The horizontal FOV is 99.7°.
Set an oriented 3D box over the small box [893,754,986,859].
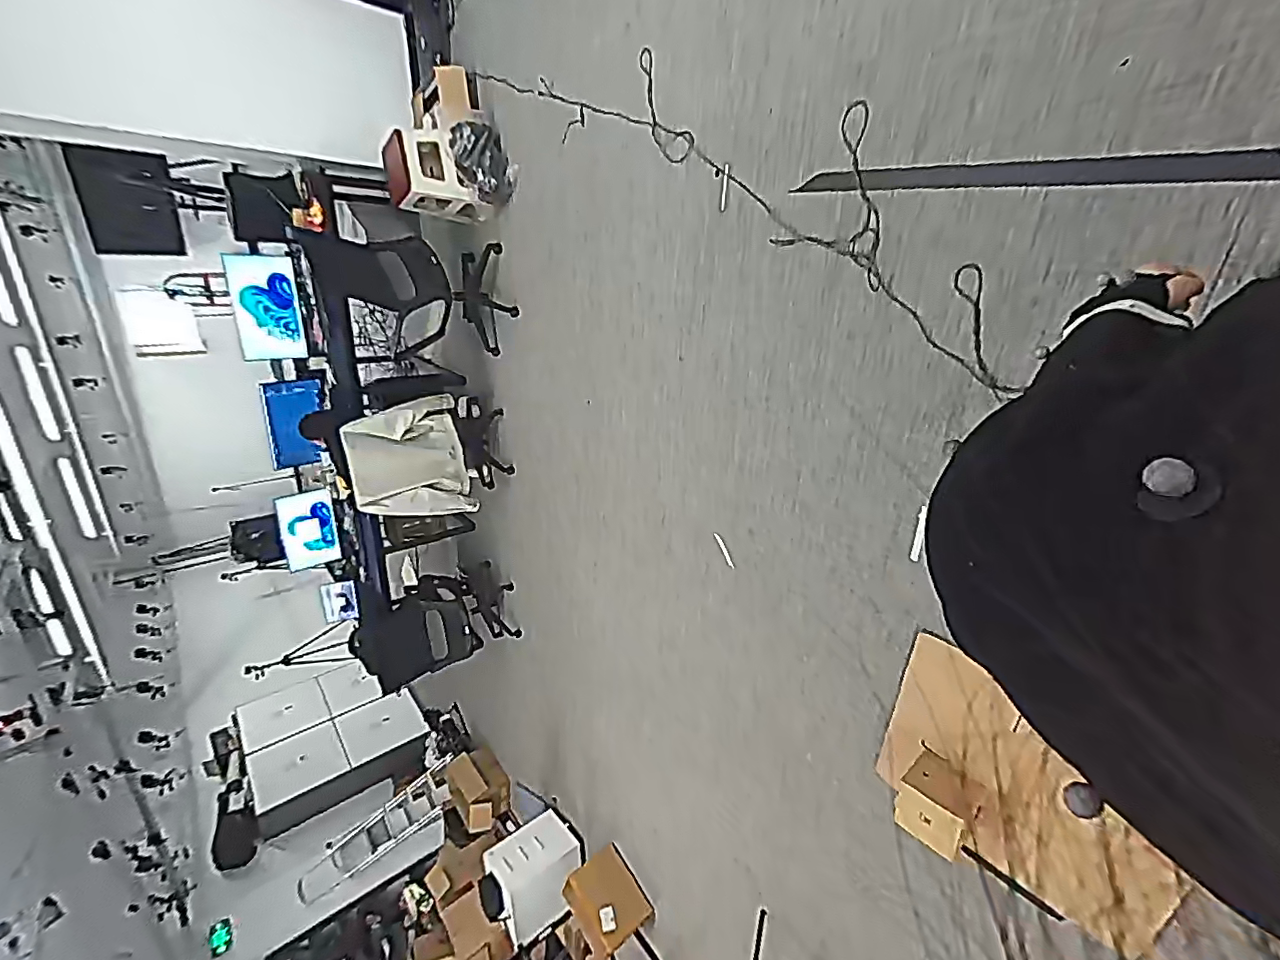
[{"bbox_3d":[0.878,0.944,1.588,0.179,0.176,0.168,20,119,45],"label":"small box"}]
